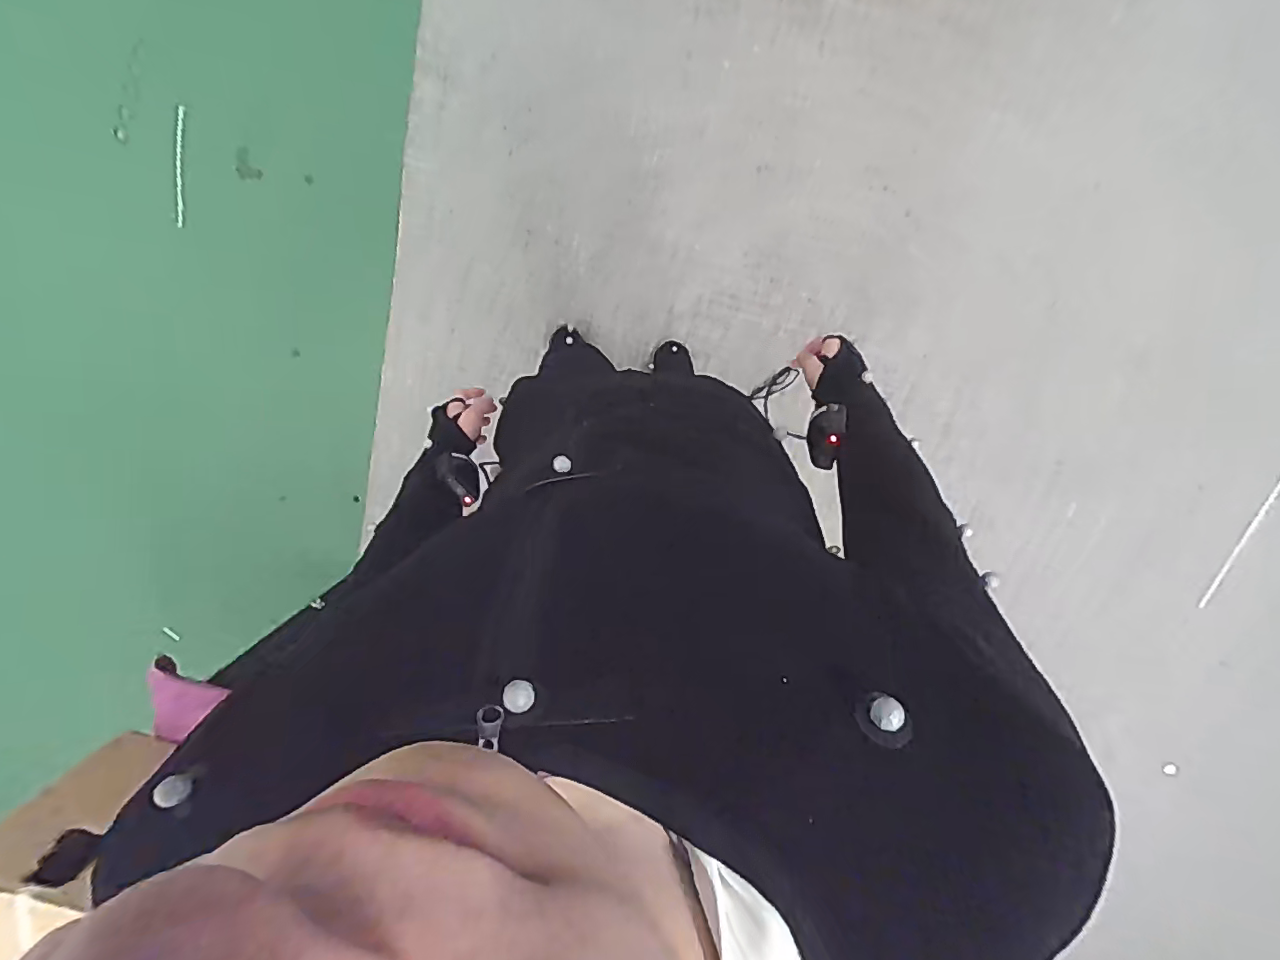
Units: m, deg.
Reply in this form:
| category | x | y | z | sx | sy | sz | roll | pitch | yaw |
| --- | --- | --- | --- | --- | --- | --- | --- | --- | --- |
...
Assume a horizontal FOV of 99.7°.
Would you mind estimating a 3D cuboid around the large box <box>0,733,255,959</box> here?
| category | x | y | z | sx | sy | sz | roll | pitch | yaw |
| --- | --- | --- | --- | --- | --- | --- | --- | --- | --- |
| large box | -1.032 | 0.807 | 1.082 | 0.320 | 0.320 | 0.408 | 16 | 107 | 0 |
